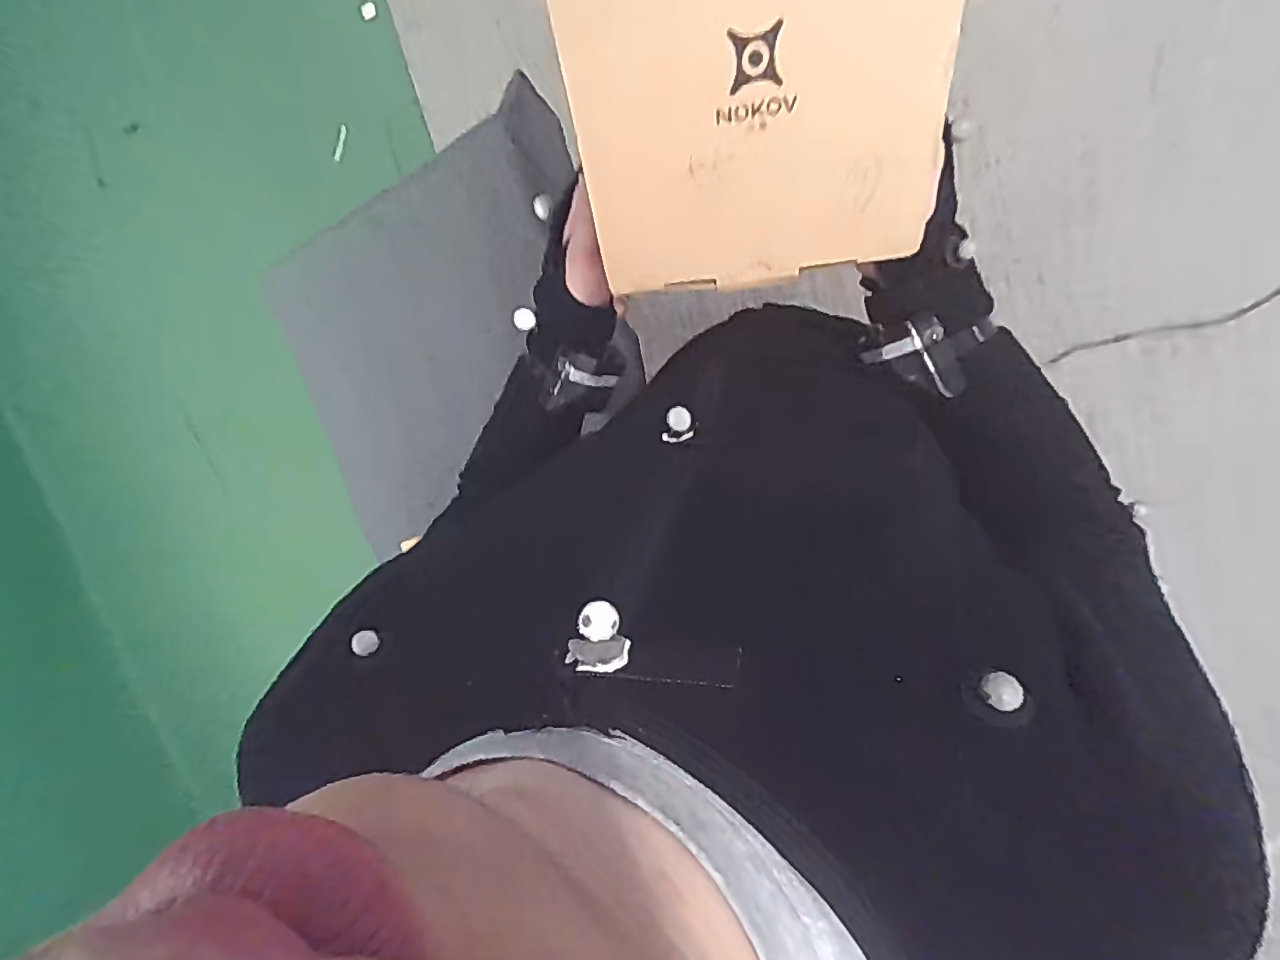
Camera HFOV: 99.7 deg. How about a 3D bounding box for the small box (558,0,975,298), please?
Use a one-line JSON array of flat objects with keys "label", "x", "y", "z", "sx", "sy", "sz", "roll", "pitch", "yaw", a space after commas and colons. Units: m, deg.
[{"label": "small box", "x": 0.058, "y": -0.226, "z": 0.294, "sx": 0.168, "sy": 0.176, "sz": 0.179, "roll": -5, "pitch": 134, "yaw": 8}]
